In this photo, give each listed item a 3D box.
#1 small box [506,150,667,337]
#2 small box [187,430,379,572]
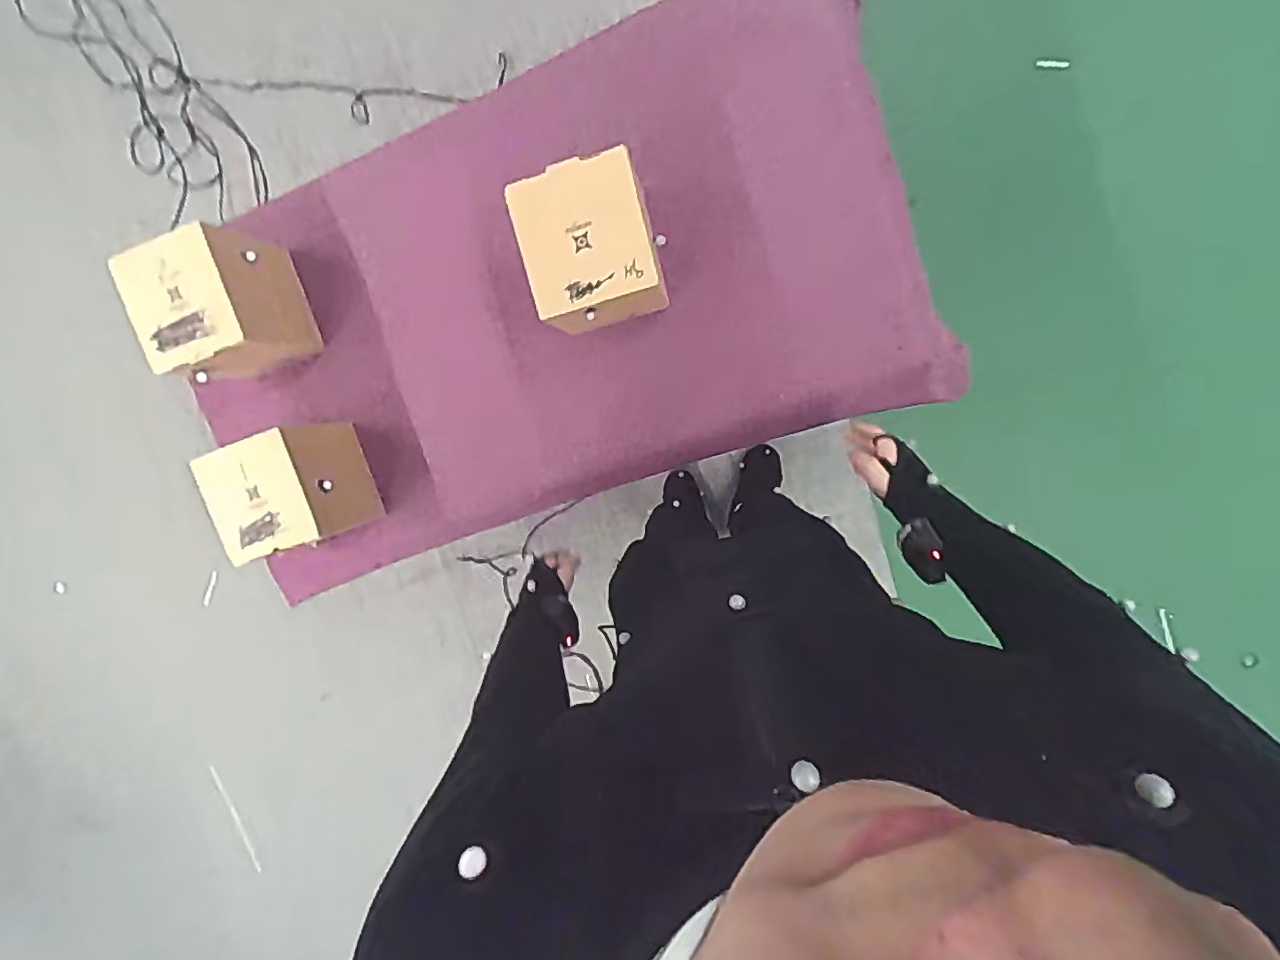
[{"bbox_3d":[-0.064,-0.318,0.766,0.168,0.176,0.179,-14,96,10],"label":"small box"},{"bbox_3d":[-0.563,0.026,0.878,0.168,0.176,0.179,-18,94,9],"label":"small box"}]
